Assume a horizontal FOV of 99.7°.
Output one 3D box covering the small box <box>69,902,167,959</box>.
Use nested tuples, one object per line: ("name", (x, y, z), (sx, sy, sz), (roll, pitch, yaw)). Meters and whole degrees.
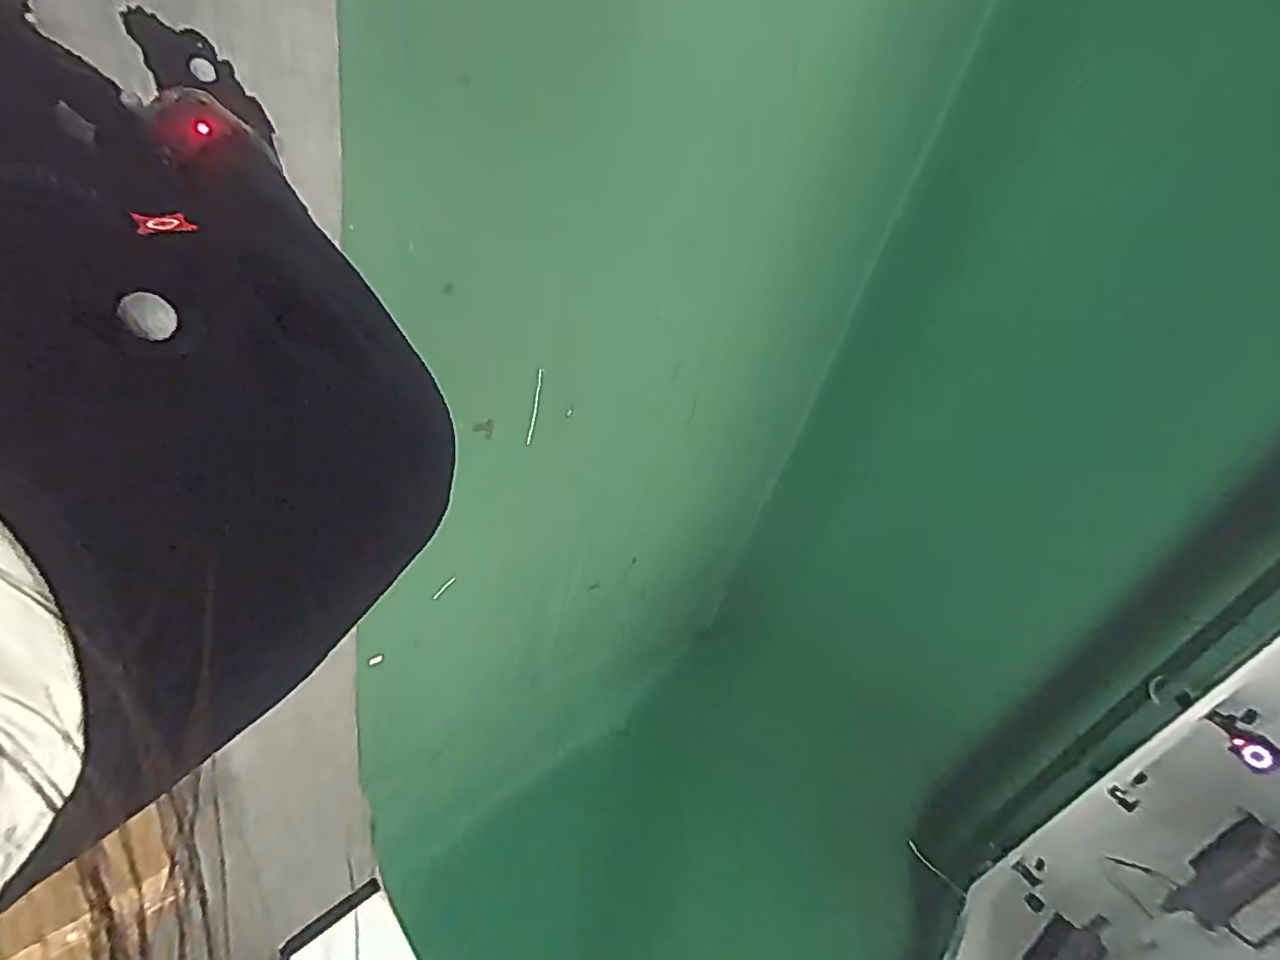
("small box", (-1.409, 1.315, 1.463), (0.179, 0.176, 0.168), (-12, 127, -48))
